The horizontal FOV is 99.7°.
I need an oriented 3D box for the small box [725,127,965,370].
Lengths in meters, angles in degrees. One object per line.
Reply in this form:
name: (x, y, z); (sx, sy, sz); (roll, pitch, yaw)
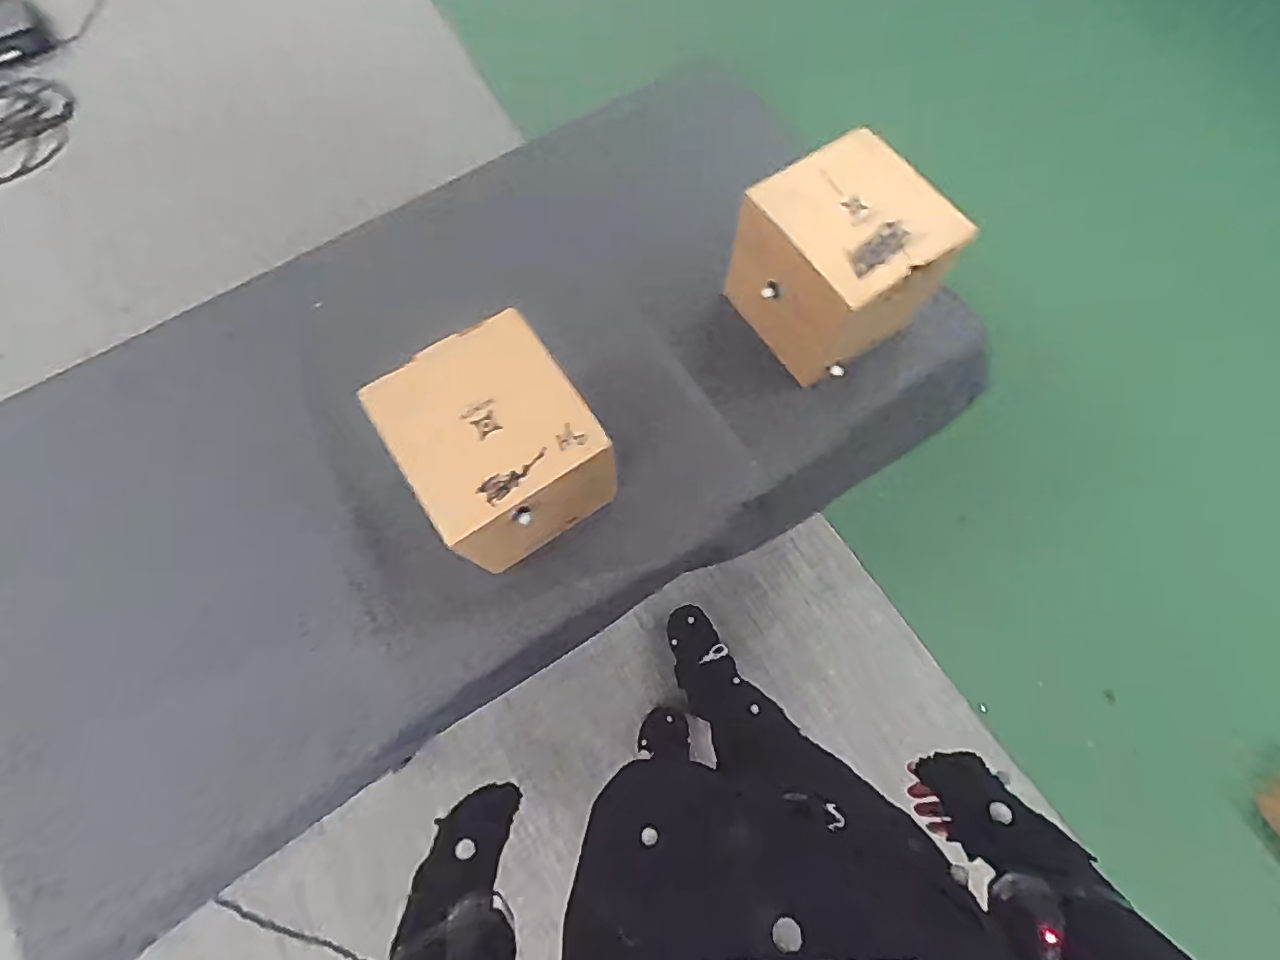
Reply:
small box: (0.221, -0.254, 0.635); (0.168, 0.176, 0.179); (-32, 74, -9)

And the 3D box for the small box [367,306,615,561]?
small box: (-0.141, -0.037, 0.568); (0.168, 0.176, 0.179); (-33, 75, -10)

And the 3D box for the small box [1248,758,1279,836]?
small box: (1.456, 0.690, 1.121); (0.179, 0.176, 0.168); (-31, 75, -8)
